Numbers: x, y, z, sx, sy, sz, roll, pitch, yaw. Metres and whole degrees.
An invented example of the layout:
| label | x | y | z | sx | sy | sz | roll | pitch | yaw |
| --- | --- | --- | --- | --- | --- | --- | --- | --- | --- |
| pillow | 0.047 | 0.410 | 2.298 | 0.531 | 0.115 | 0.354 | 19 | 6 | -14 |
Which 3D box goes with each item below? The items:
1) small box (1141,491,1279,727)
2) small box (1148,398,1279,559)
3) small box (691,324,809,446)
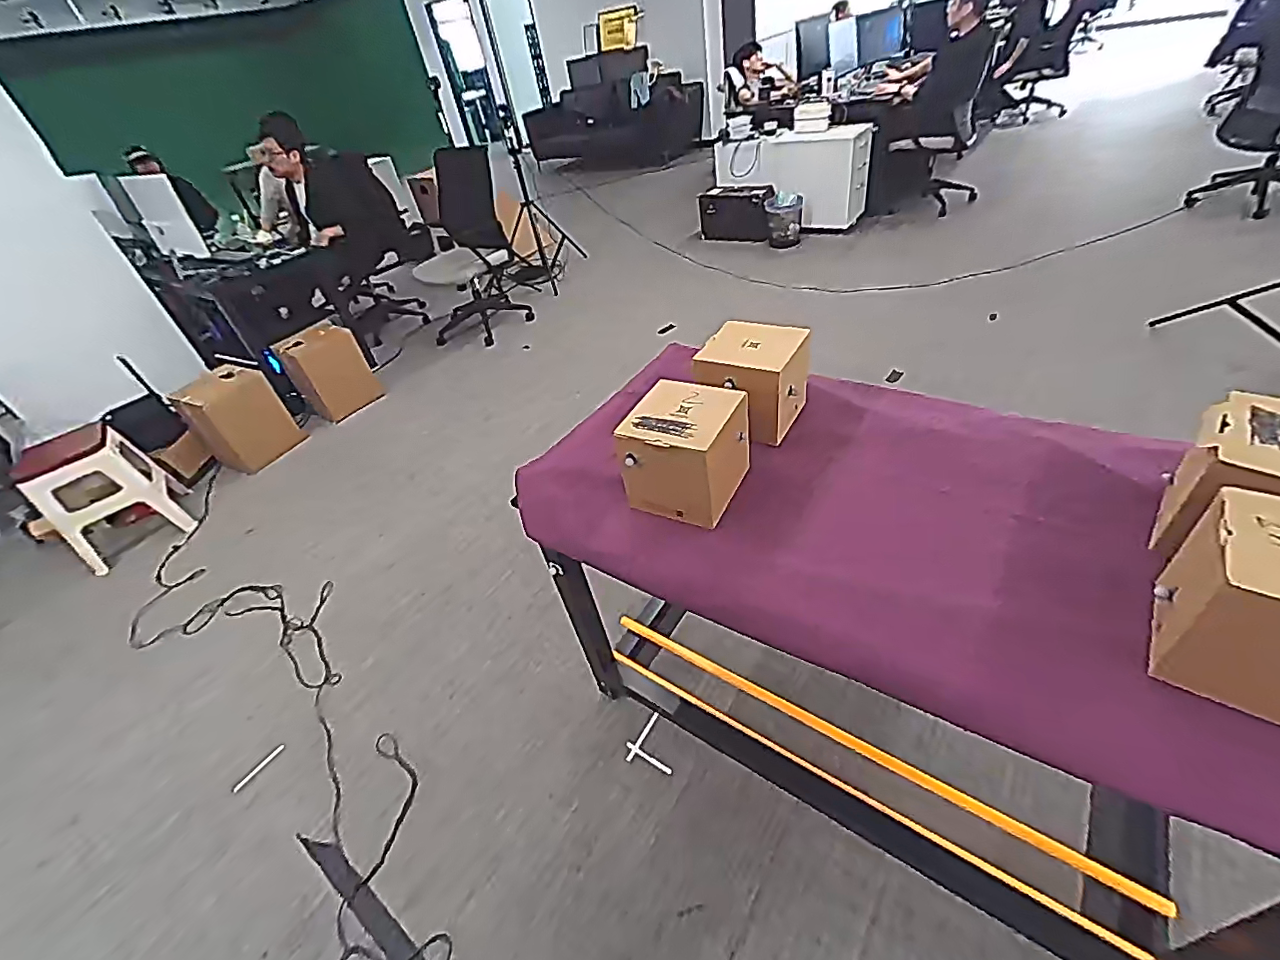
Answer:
| label | x | y | z | sx | sy | sz | roll | pitch | yaw |
| --- | --- | --- | --- | --- | --- | --- | --- | --- | --- |
| small box | 0.684 | 0.145 | 0.572 | 0.179 | 0.176 | 0.168 | 20 | 47 | 33 |
| small box | 0.798 | 0.025 | 0.685 | 0.179 | 0.176 | 0.168 | 25 | 54 | 34 |
| small box | 0.221 | -0.188 | 1.076 | 0.179 | 0.176 | 0.168 | 16 | 47 | 29 |
